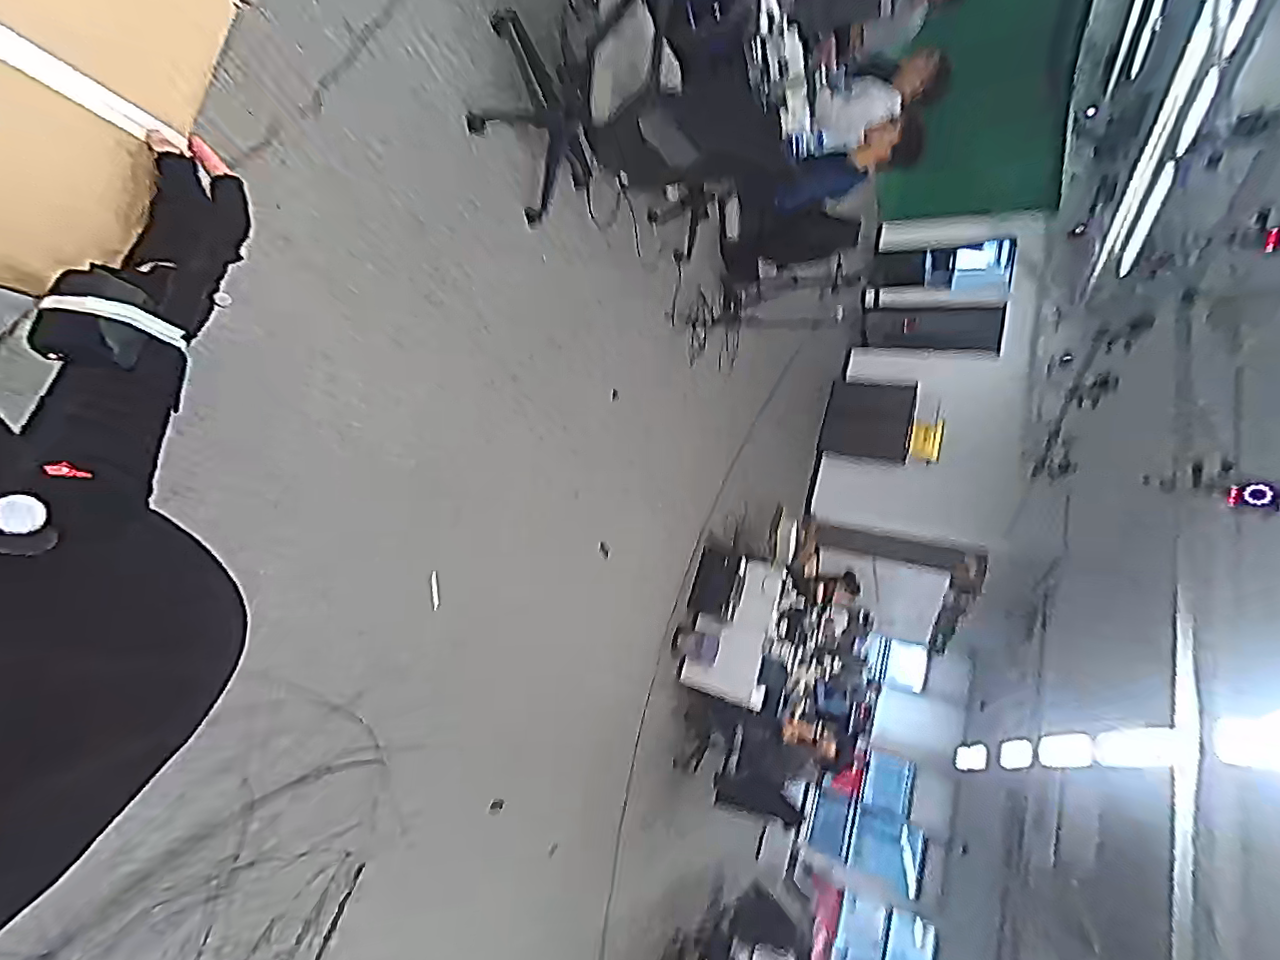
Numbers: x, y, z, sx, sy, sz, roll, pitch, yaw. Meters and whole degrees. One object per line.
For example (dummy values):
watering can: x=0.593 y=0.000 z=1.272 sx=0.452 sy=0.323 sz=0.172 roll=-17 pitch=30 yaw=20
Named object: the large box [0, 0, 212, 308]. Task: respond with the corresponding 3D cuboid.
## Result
large box: x=-0.617 y=-0.355 z=0.349 sx=0.408 sy=0.320 sz=0.320 roll=19 pitch=90 yaw=-64
